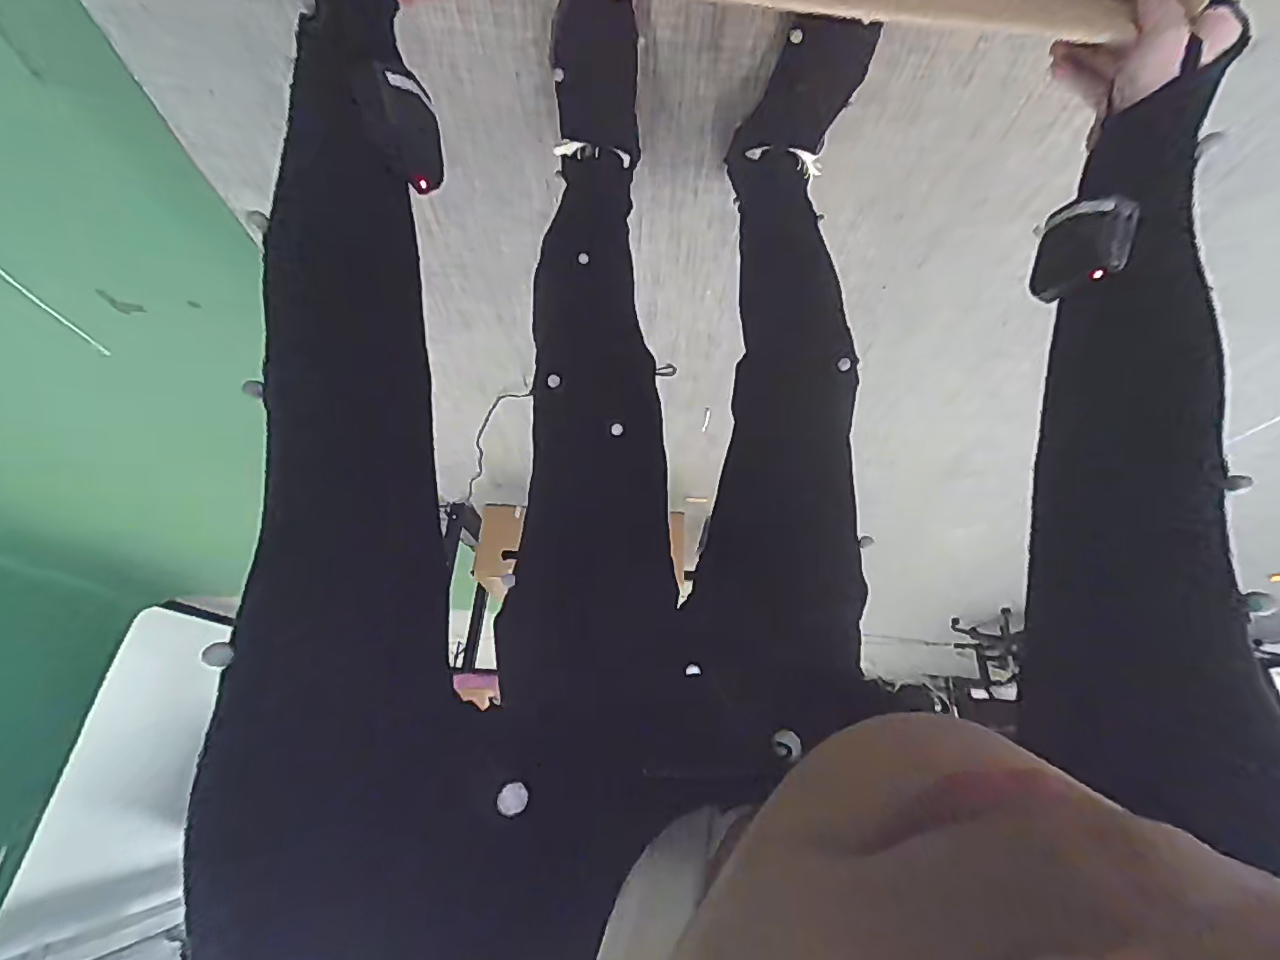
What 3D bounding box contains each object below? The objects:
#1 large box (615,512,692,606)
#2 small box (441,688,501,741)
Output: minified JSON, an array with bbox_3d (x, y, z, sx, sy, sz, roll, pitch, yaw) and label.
[{"bbox_3d":[0.068,0.354,2.380,0.320,0.320,0.408,3,155,3],"label":"large box"},{"bbox_3d":[-0.630,0.883,2.037,0.168,0.176,0.179,3,157,-2],"label":"small box"}]
